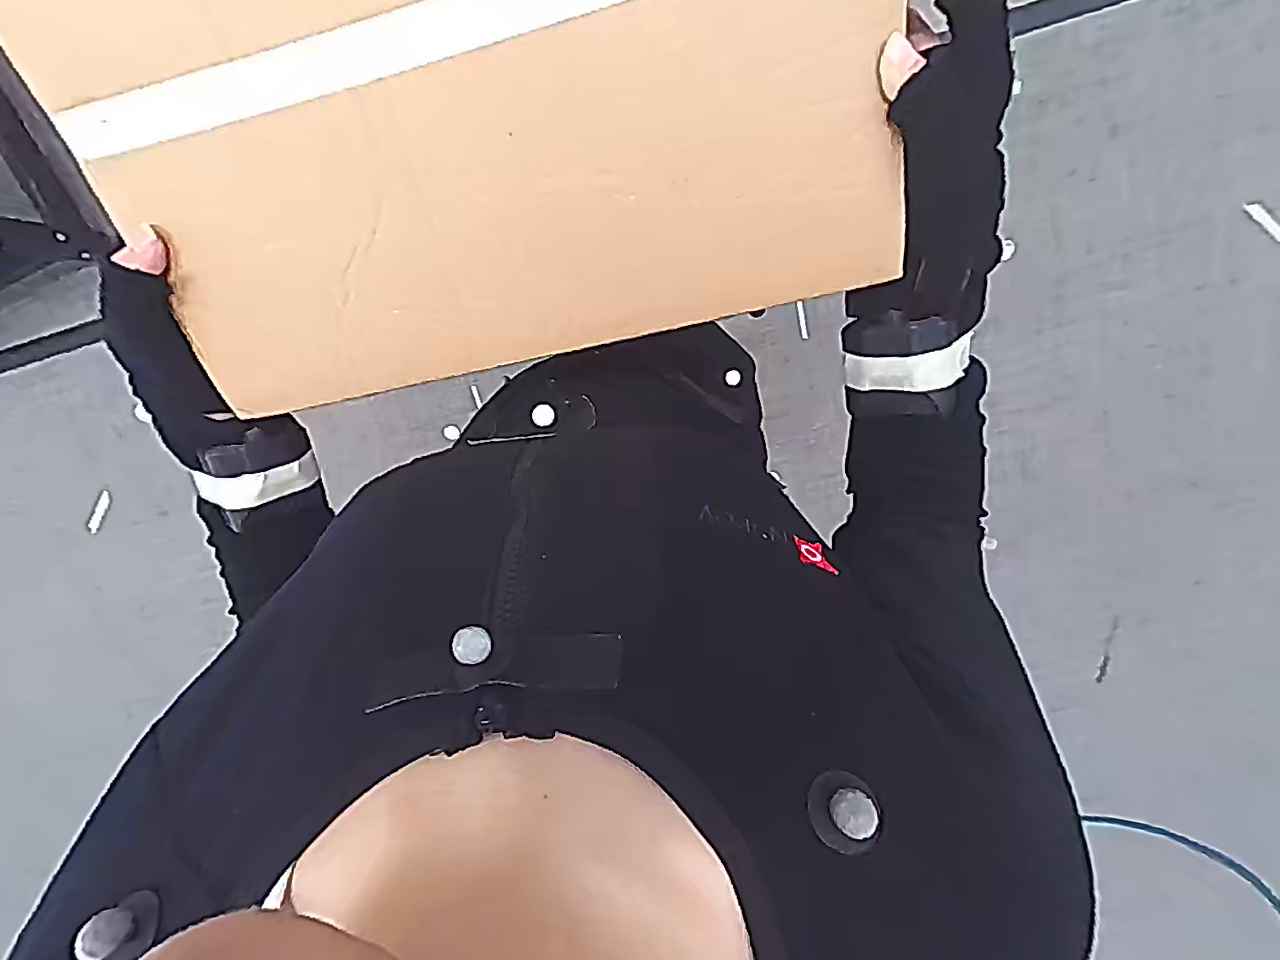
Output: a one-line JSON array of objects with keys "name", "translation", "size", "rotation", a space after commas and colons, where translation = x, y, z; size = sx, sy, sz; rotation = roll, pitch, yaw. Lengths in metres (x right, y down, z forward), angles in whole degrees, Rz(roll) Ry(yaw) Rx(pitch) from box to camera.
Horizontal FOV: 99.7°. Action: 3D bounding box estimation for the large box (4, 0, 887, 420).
[{"name": "large box", "translation": [-0.084, -0.279, 0.388], "size": [0.408, 0.320, 0.320], "rotation": [-11, 117, 7]}]
